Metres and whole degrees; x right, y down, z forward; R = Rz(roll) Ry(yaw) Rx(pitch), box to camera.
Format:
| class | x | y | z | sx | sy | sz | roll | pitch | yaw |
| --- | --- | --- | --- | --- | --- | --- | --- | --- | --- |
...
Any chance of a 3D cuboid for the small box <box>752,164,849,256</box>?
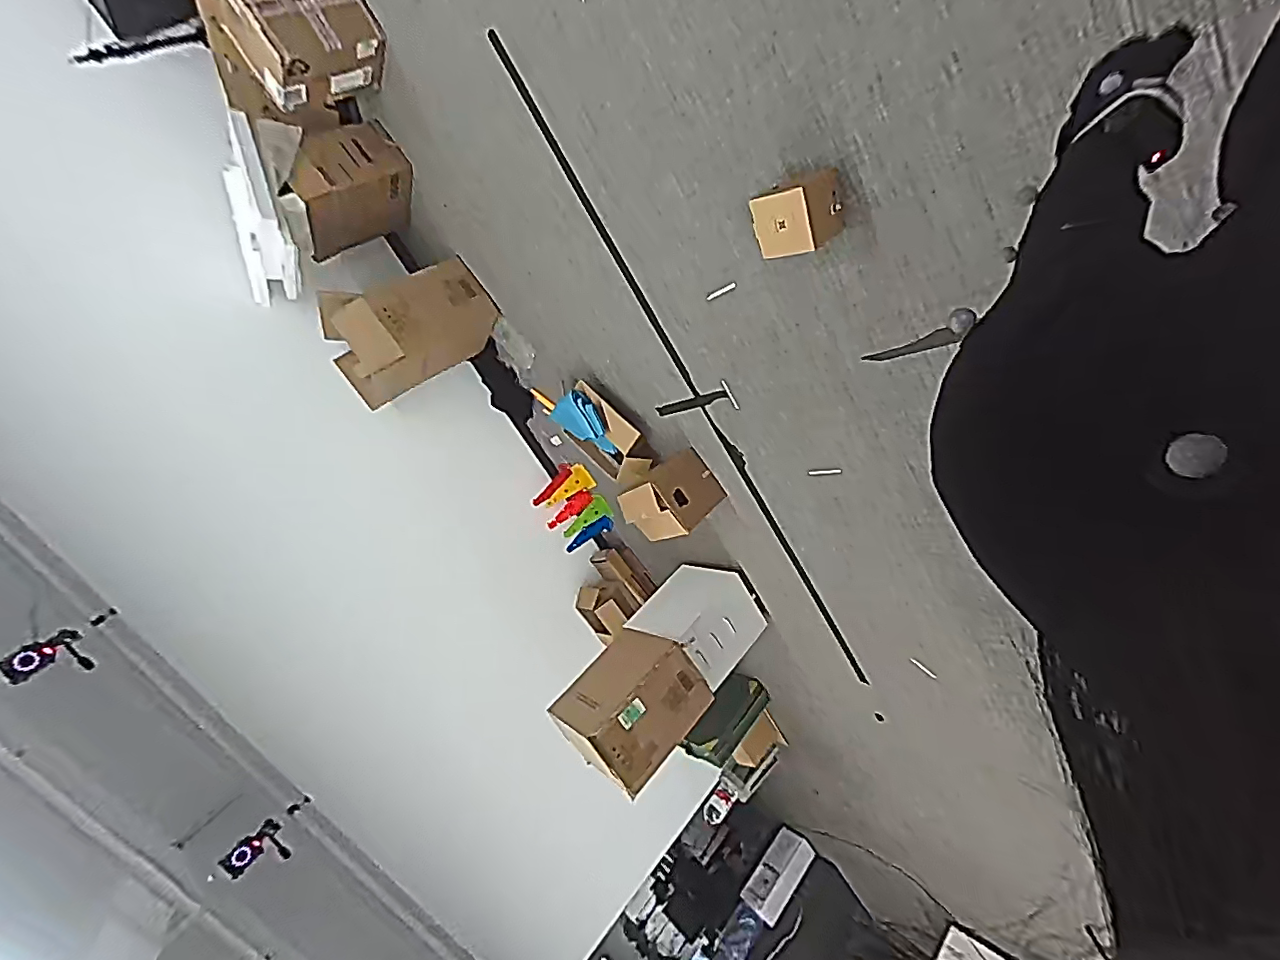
| class | x | y | z | sx | sy | sz | roll | pitch | yaw |
| --- | --- | --- | --- | --- | --- | --- | --- | --- | --- |
| small box | 0.444 | -0.740 | 1.489 | 0.179 | 0.176 | 0.168 | 13 | 137 | 48 |
